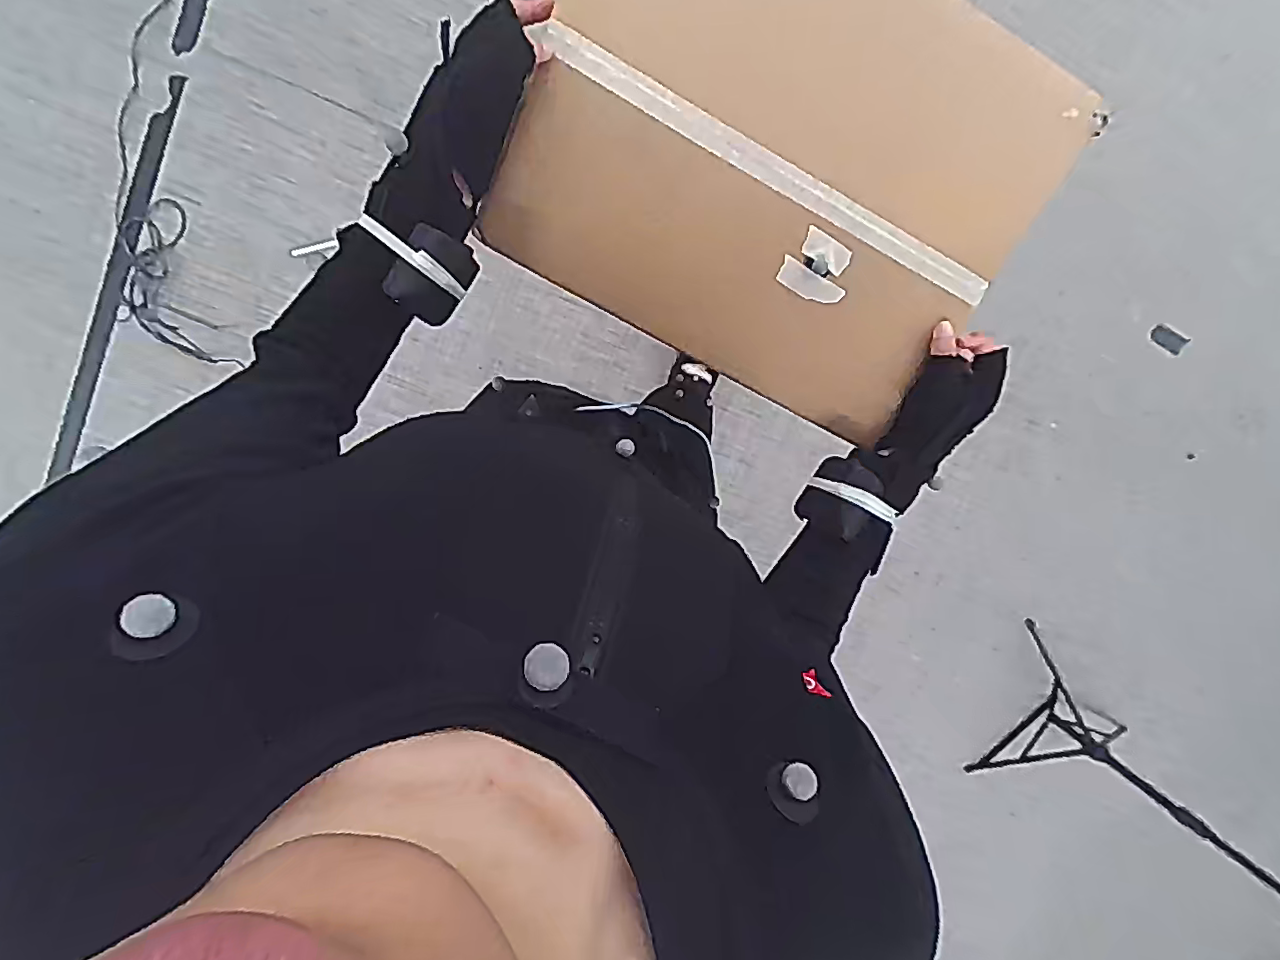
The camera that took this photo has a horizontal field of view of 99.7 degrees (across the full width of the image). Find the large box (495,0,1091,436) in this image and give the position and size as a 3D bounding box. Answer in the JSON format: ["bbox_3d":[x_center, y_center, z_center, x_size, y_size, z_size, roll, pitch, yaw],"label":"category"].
[{"bbox_3d":[0.116,-0.302,0.585,0.408,0.320,0.320,27,109,-9],"label":"large box"}]
